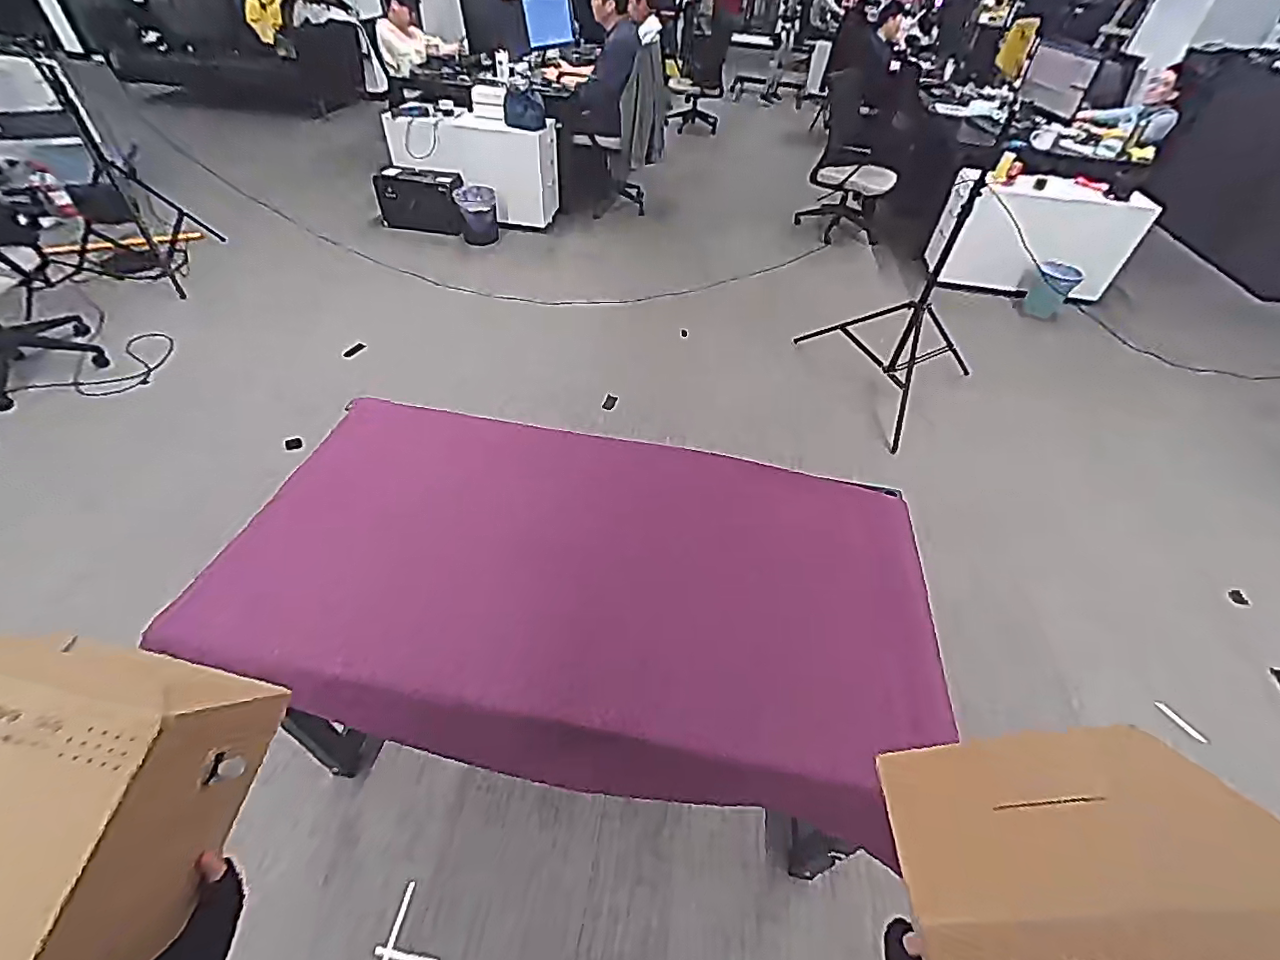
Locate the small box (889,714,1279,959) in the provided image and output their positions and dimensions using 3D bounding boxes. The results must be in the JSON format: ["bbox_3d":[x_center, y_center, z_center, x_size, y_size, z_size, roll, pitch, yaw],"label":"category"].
[{"bbox_3d":[0.242,0.242,0.275,0.168,0.179,0.176,-16,82,17],"label":"small box"}]

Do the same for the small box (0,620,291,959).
[{"bbox_3d":[-0.349,0.182,0.314,0.168,0.179,0.176,19,69,-7],"label":"small box"}]
